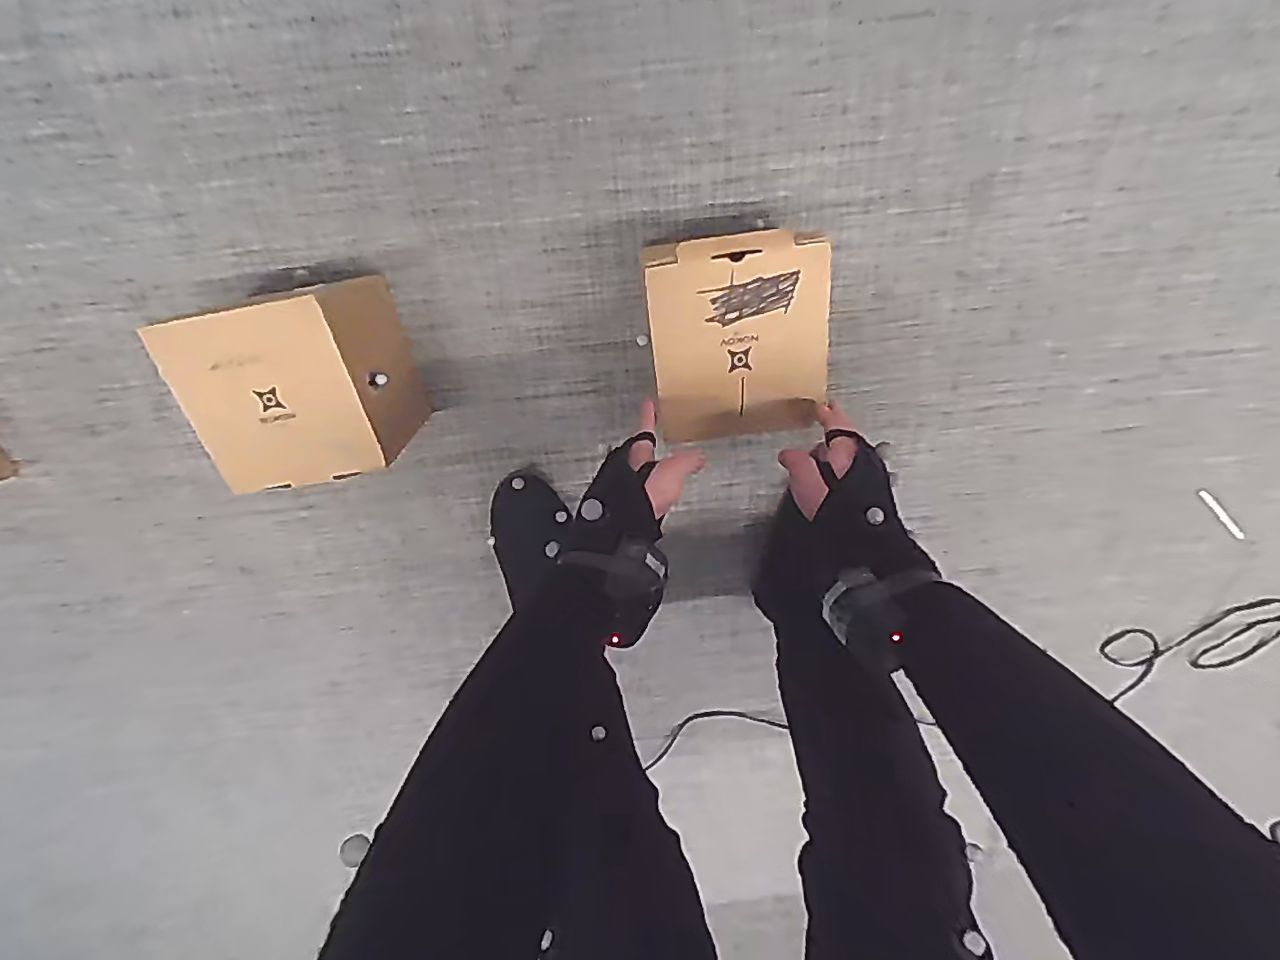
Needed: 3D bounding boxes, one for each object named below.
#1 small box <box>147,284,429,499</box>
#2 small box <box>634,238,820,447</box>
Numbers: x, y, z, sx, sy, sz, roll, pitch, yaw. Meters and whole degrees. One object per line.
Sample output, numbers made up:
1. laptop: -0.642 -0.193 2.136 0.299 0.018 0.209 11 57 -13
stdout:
1. small box: -0.358 -0.104 0.596 0.168 0.176 0.179 -11 115 2
2. small box: 0.085 -0.155 0.579 0.168 0.176 0.179 -8 117 3
